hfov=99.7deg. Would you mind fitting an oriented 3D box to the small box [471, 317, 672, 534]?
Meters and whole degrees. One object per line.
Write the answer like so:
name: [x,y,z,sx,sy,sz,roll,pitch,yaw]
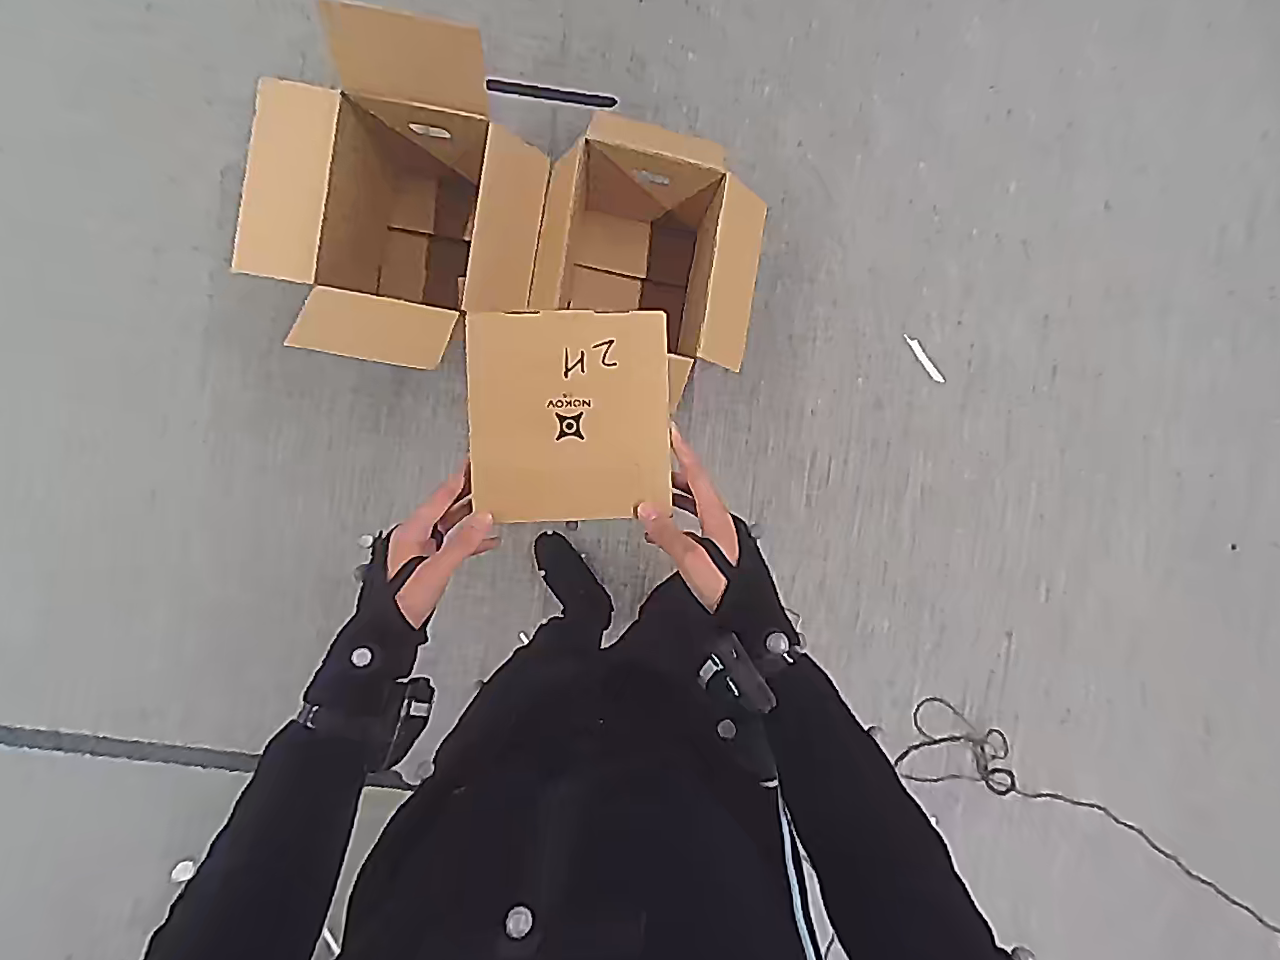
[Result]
small box: [-0.060,-0.045,0.519,0.168,0.176,0.179,-1,90,-5]
